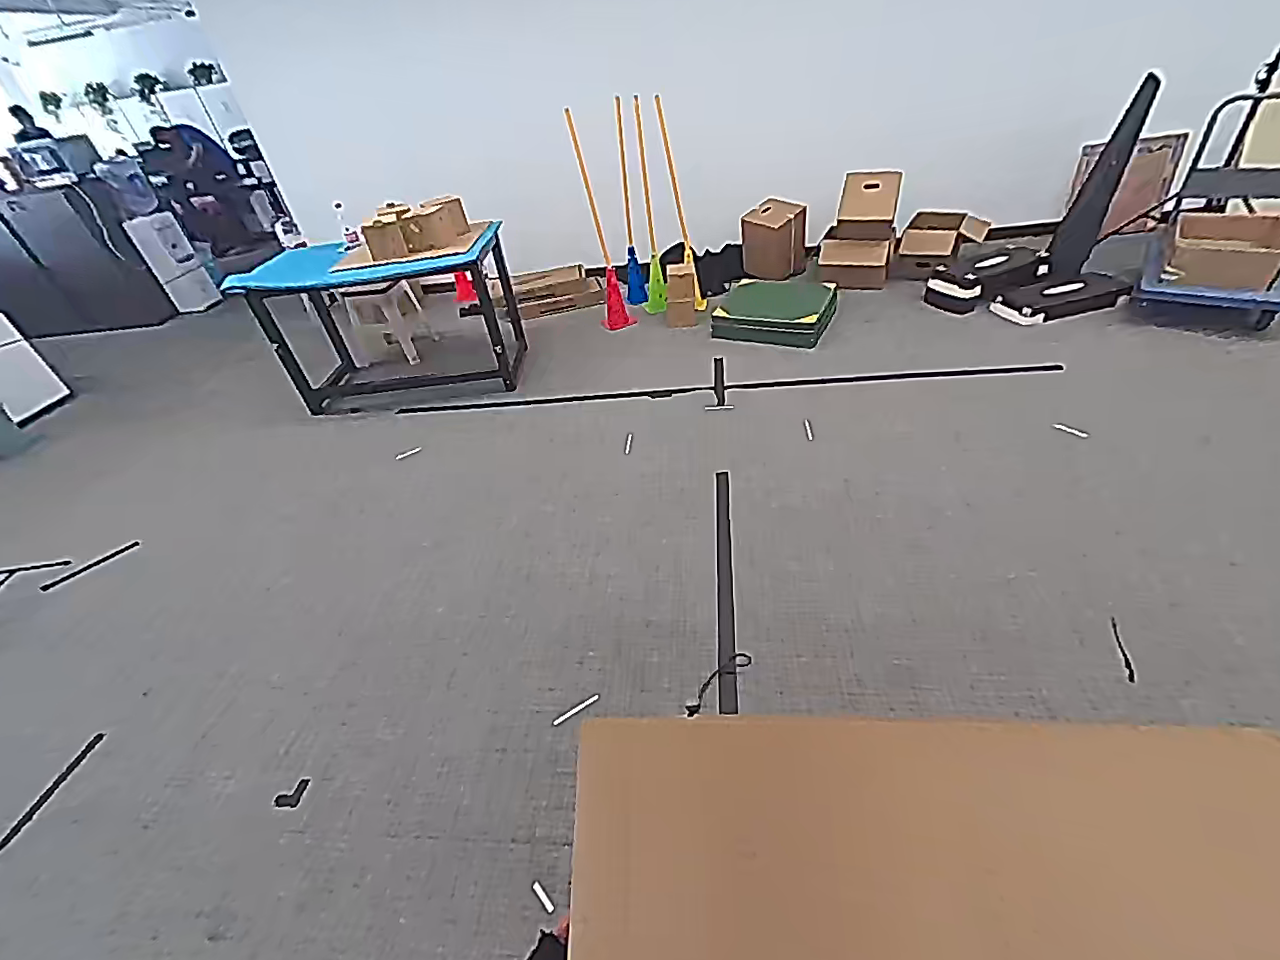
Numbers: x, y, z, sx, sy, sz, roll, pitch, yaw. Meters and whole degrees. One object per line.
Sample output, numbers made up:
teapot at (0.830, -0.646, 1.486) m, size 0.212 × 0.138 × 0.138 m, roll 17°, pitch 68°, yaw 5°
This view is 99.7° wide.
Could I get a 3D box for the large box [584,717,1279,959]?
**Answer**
large box at (0.190, 0.356, 0.419) m, size 0.408 × 0.320 × 0.320 m, roll -5°, pitch 67°, yaw 12°
